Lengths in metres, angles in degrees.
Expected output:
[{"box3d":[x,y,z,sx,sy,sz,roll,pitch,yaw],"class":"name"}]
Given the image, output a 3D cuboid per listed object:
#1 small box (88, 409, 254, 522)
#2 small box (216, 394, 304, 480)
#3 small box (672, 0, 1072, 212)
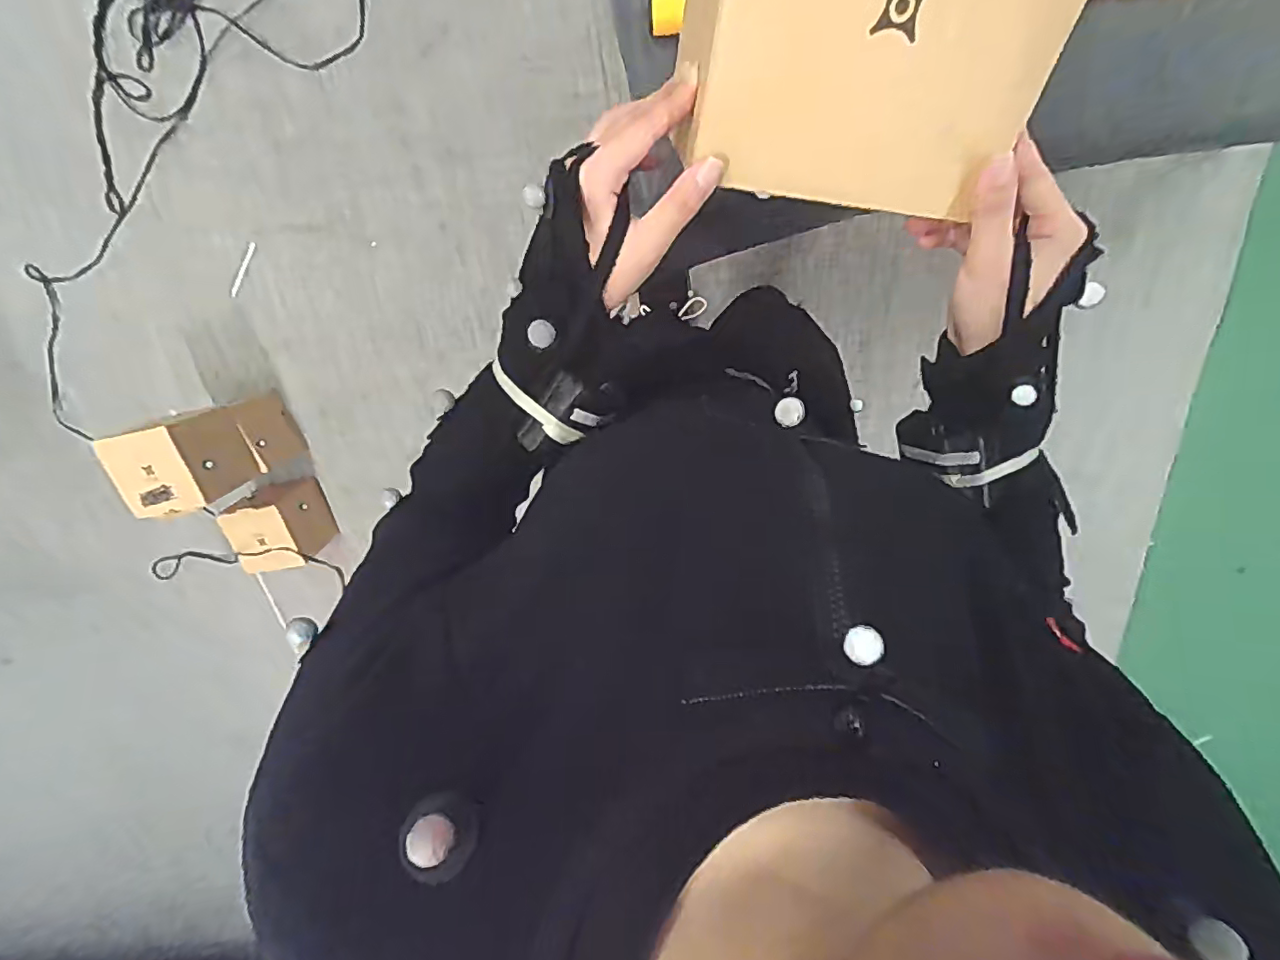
[{"box3d":[-0.977,-0.035,1.148,0.168,0.176,0.179,-10,112,5],"class":"small box"},{"box3d":[-0.967,-0.091,1.302,0.179,0.176,0.168,-14,113,8],"class":"small box"},{"box3d":[0.113,-0.272,0.301,0.168,0.176,0.179,5,128,-6],"class":"small box"}]
